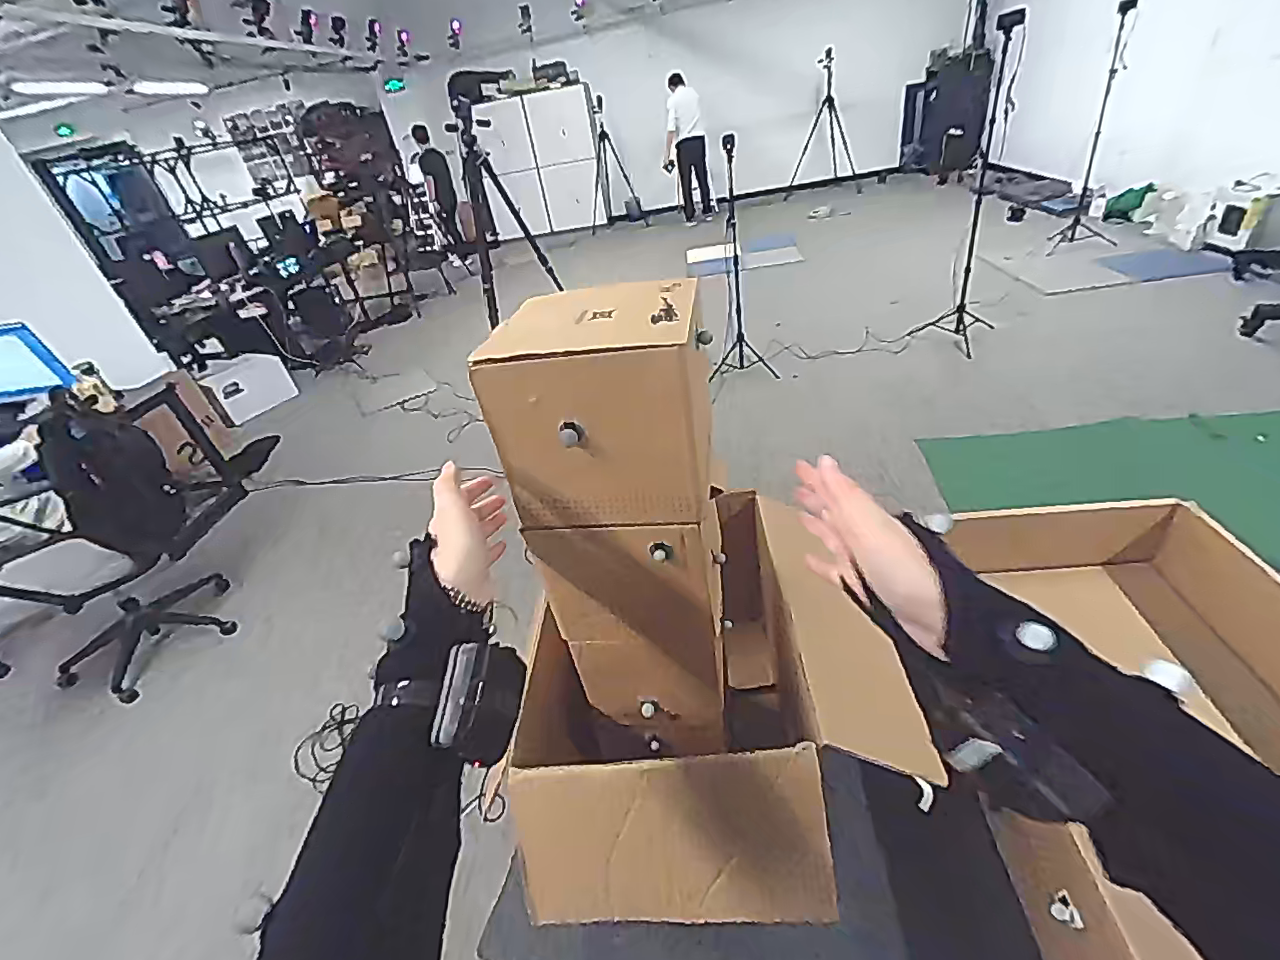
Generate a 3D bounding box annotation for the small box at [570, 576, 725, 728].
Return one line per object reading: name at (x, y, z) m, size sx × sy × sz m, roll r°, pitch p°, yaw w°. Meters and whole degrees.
small box at (0.021, 0.194, 0.703) m, size 0.168 × 0.176 × 0.179 m, roll -3°, pitch 37°, yaw 11°

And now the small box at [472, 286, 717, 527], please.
small box at (-0.024, -0.067, 0.514) m, size 0.179 × 0.176 × 0.168 m, roll -3°, pitch 36°, yaw 12°

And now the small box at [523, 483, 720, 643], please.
small box at (-0.006, 0.066, 0.608) m, size 0.179 × 0.176 × 0.168 m, roll -2°, pitch 36°, yaw 11°
